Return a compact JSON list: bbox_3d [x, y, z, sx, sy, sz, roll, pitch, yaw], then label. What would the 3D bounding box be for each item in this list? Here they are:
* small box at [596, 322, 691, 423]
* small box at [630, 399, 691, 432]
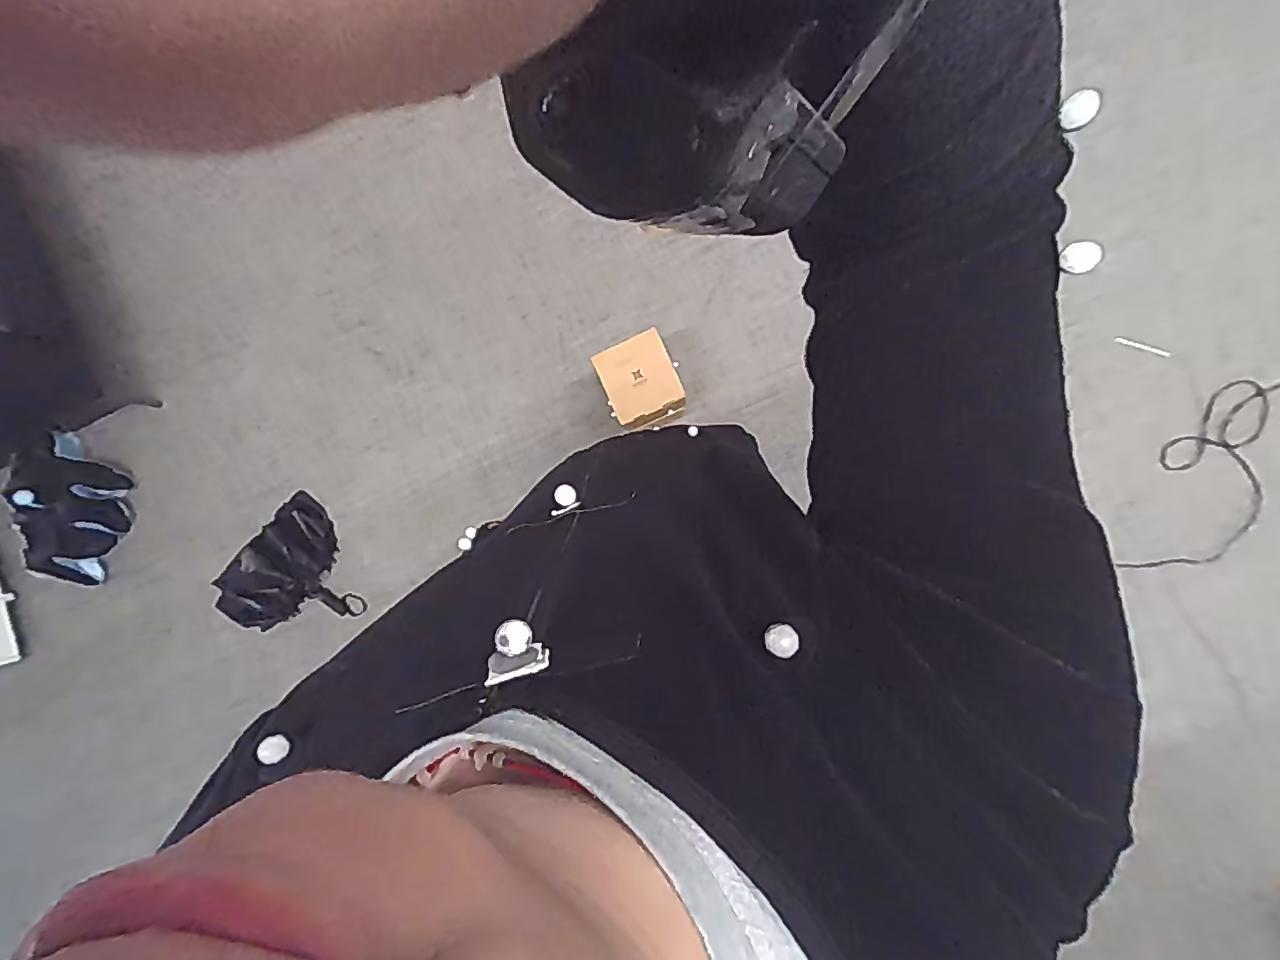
[{"bbox_3d":[0.016,-0.246,1.298,0.168,0.176,0.179,-26,87,5],"label":"small box"},{"bbox_3d":[0.029,-0.243,1.460,0.168,0.176,0.179,-24,89,6],"label":"small box"}]
